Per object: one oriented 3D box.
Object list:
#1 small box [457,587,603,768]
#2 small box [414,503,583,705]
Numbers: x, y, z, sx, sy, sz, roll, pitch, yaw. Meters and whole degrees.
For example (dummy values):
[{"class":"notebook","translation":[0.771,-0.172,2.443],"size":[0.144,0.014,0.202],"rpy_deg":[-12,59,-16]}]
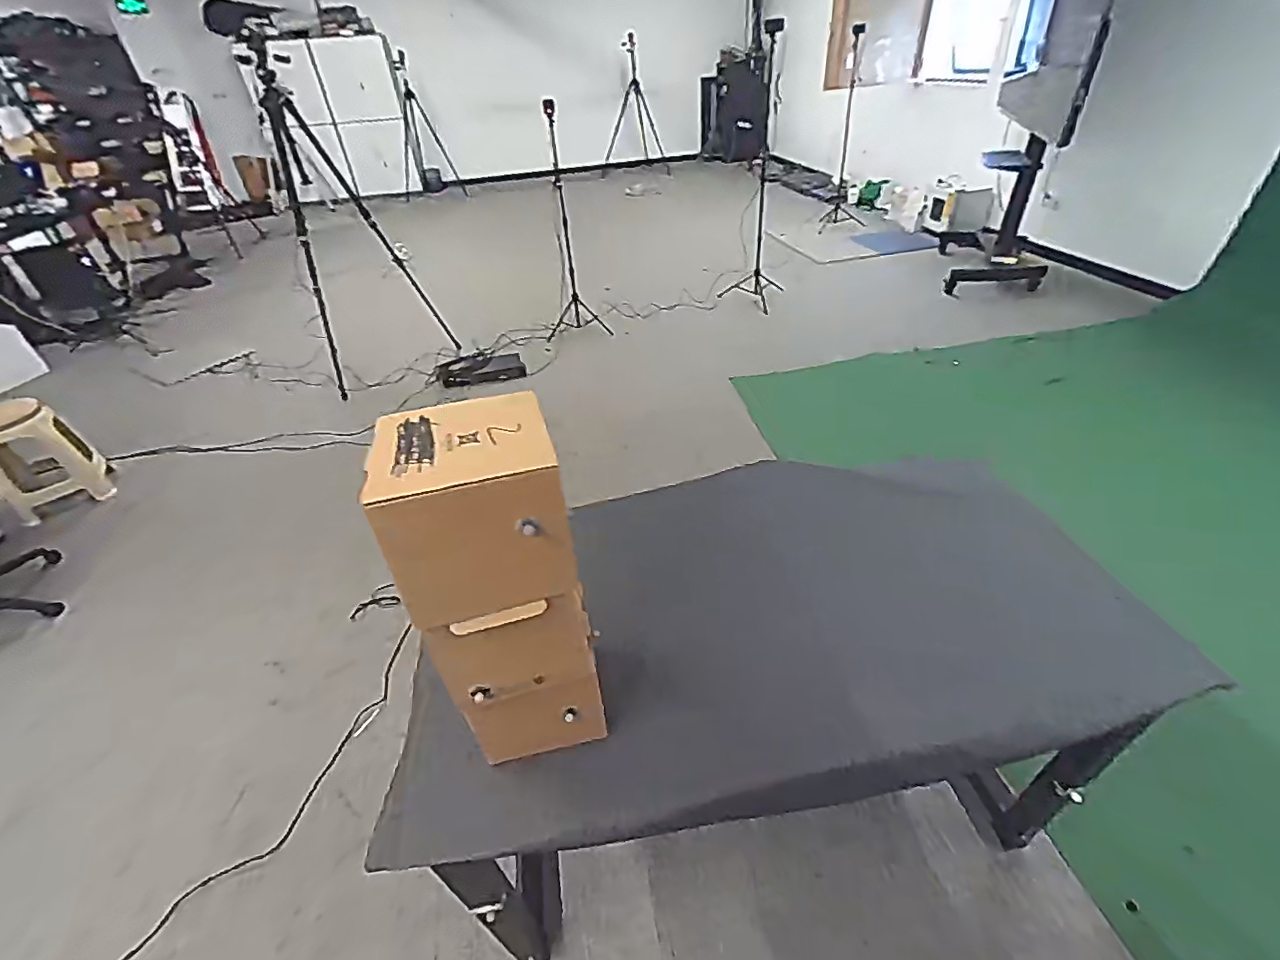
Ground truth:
[{"class":"small box","translation":[-0.154,0.288,0.794],"size":[0.179,0.176,0.168],"rpy_deg":[-12,37,-7]},{"class":"small box","translation":[-0.176,0.161,0.692],"size":[0.168,0.176,0.179],"rpy_deg":[-13,36,-11]}]
